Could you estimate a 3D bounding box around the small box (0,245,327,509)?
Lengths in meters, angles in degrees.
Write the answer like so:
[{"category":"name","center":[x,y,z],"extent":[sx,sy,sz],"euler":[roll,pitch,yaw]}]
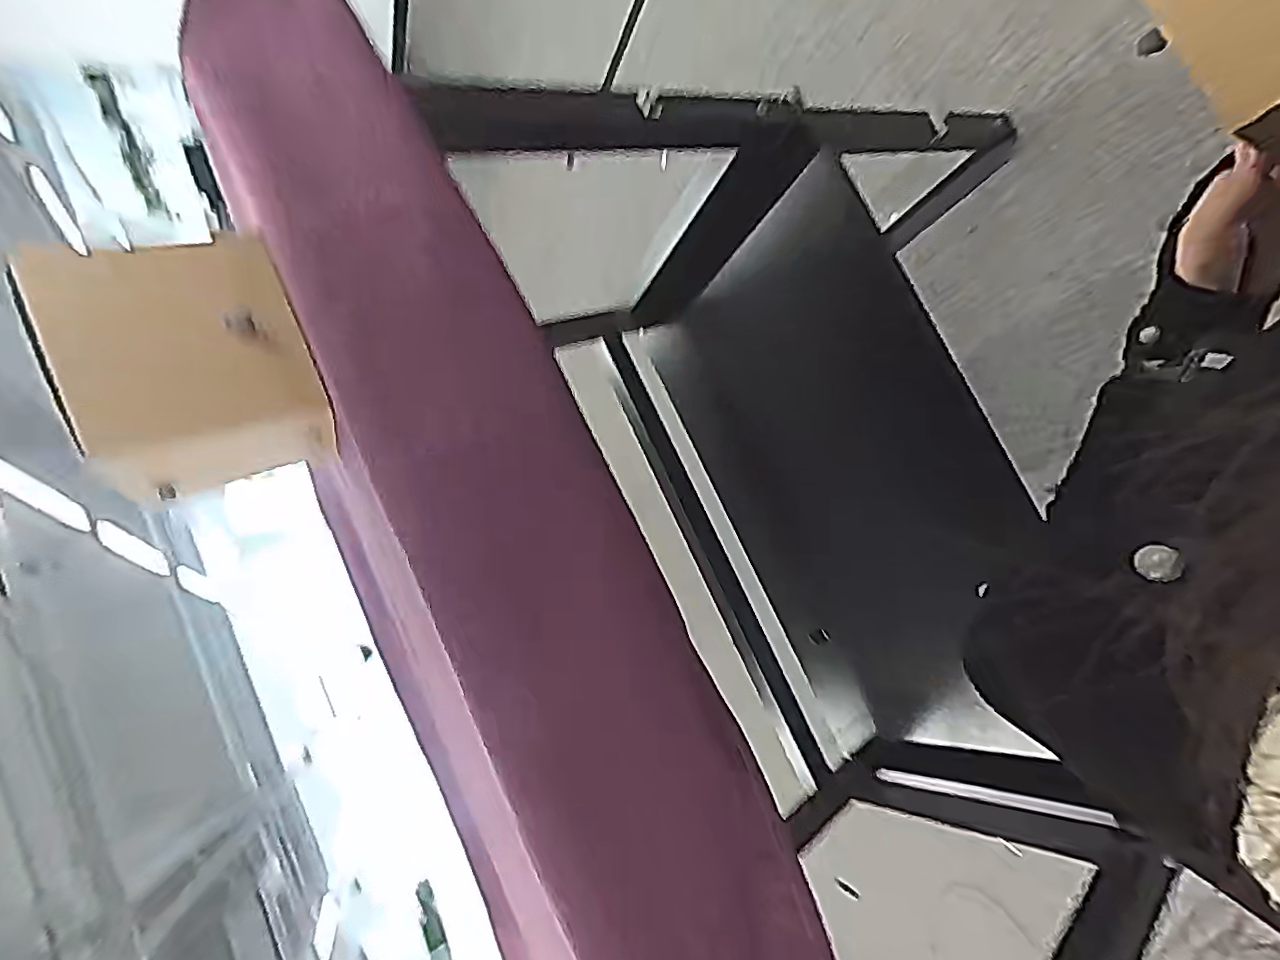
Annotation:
[{"category":"small box","center":[-0.408,-0.094,0.495],"extent":[0.168,0.176,0.179],"euler":[-29,83,60]}]
